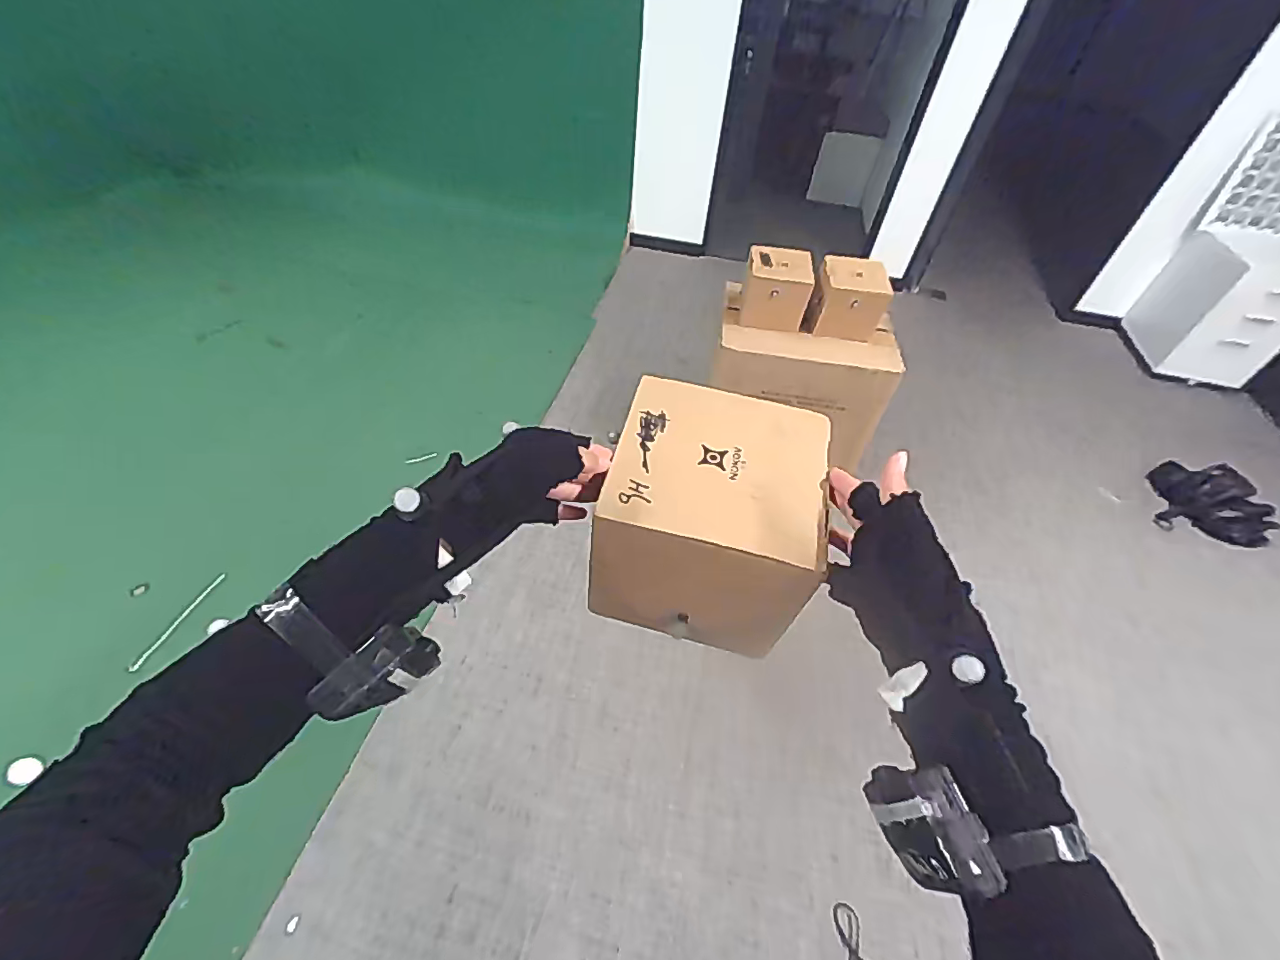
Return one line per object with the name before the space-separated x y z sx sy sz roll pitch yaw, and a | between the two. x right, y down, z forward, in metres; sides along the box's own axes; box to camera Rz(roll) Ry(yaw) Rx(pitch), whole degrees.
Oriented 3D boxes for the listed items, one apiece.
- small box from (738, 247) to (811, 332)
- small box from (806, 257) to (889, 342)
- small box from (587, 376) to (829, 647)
small box | 0.393 -0.563 1.608 0.179 0.176 0.168 8 53 0
small box | 0.605 -0.532 1.606 0.179 0.176 0.168 8 53 -1
small box | 0.058 0.036 0.505 0.179 0.176 0.168 15 50 3
